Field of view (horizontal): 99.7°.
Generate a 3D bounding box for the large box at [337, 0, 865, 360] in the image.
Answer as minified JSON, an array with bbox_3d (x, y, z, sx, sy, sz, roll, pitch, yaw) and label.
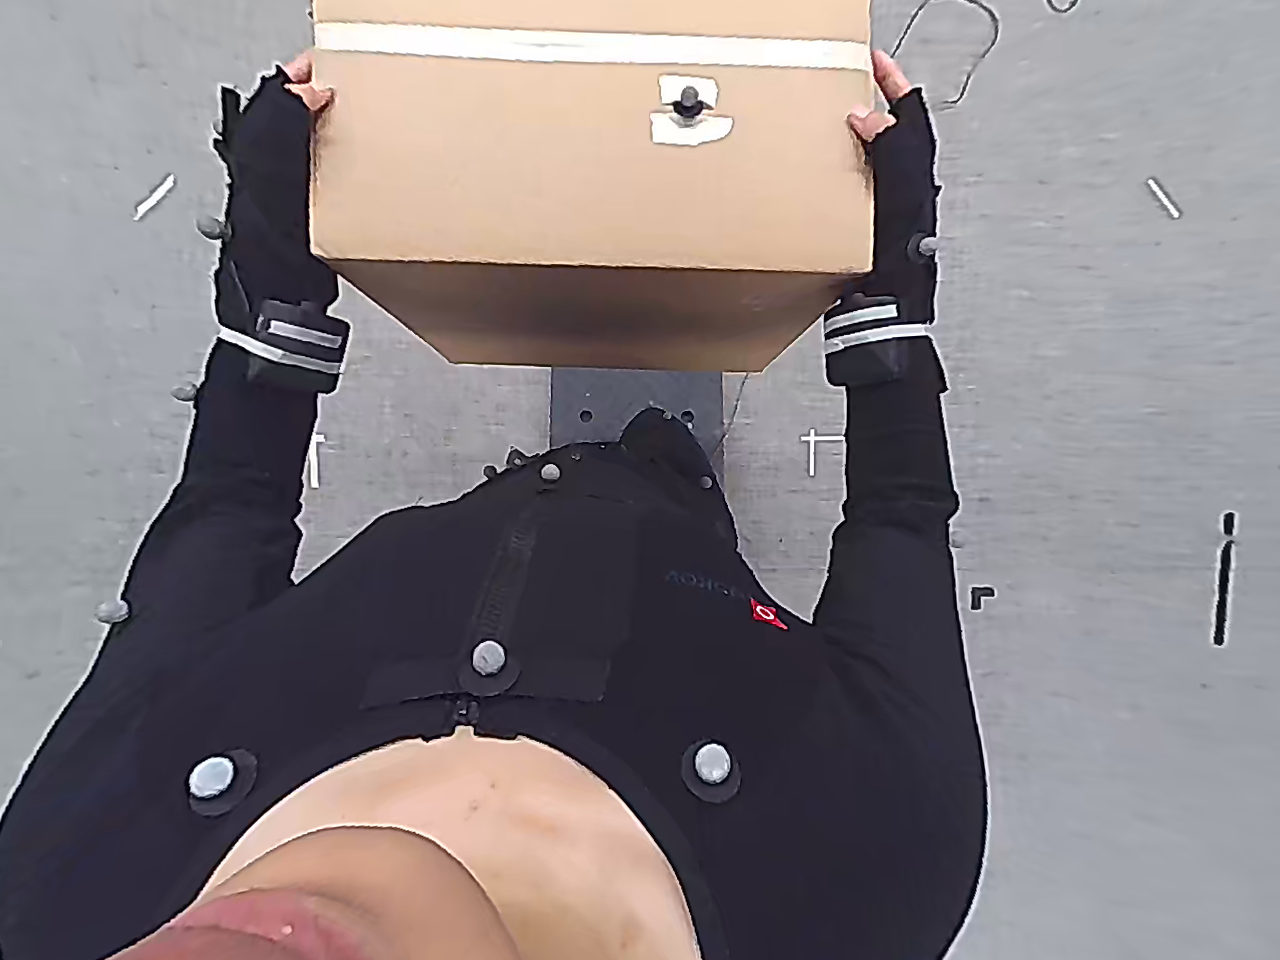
[{"bbox_3d":[-0.032,-0.315,0.561,0.408,0.320,0.320,1,88,-2],"label":"large box"}]
